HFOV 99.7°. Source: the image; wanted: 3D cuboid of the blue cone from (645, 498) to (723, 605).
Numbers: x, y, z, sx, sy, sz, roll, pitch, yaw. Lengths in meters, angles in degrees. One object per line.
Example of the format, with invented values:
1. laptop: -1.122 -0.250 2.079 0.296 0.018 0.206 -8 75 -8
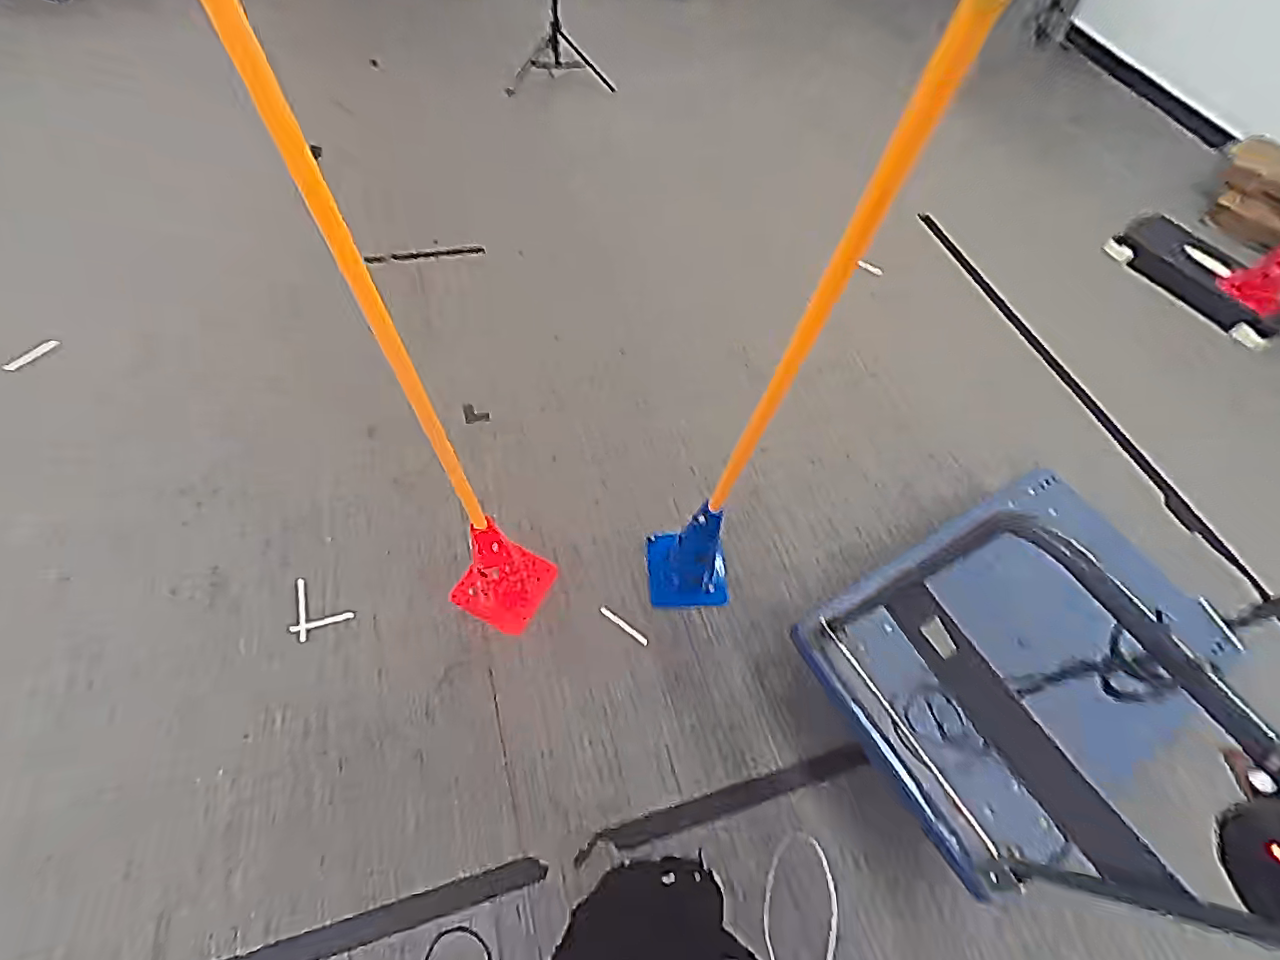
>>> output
1. blue cone: 0.122 0.142 1.236 0.192 0.380 0.193 0 60 -4

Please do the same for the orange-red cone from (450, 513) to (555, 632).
1. orange-red cone: -0.316 0.163 1.168 0.199 0.360 0.198 28 62 9
